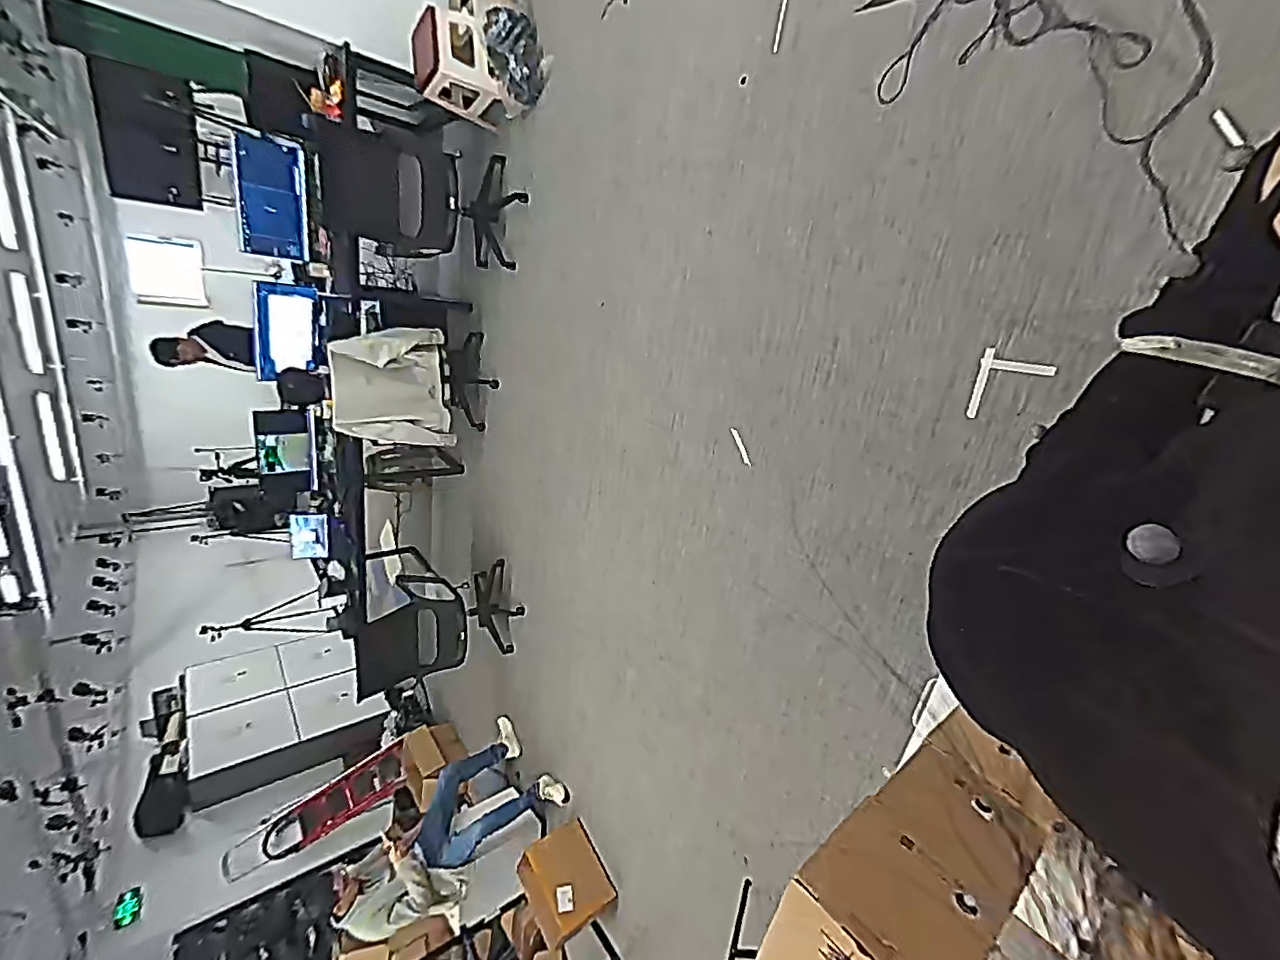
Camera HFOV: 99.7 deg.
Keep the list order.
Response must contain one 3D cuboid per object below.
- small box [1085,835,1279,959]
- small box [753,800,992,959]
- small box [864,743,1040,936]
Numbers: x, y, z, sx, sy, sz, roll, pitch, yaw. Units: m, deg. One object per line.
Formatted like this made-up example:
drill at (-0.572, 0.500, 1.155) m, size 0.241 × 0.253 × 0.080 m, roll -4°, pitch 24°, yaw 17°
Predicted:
small box at (0.665, 0.581, 0.641) m, size 0.168 × 0.176 × 0.179 m, roll 28°, pitch 117°, yaw 45°
small box at (0.259, 0.511, 0.606) m, size 0.168 × 0.176 × 0.179 m, roll 33°, pitch 122°, yaw 41°
small box at (0.385, 0.494, 0.711) m, size 0.168 × 0.176 × 0.179 m, roll 31°, pitch 119°, yaw 42°
